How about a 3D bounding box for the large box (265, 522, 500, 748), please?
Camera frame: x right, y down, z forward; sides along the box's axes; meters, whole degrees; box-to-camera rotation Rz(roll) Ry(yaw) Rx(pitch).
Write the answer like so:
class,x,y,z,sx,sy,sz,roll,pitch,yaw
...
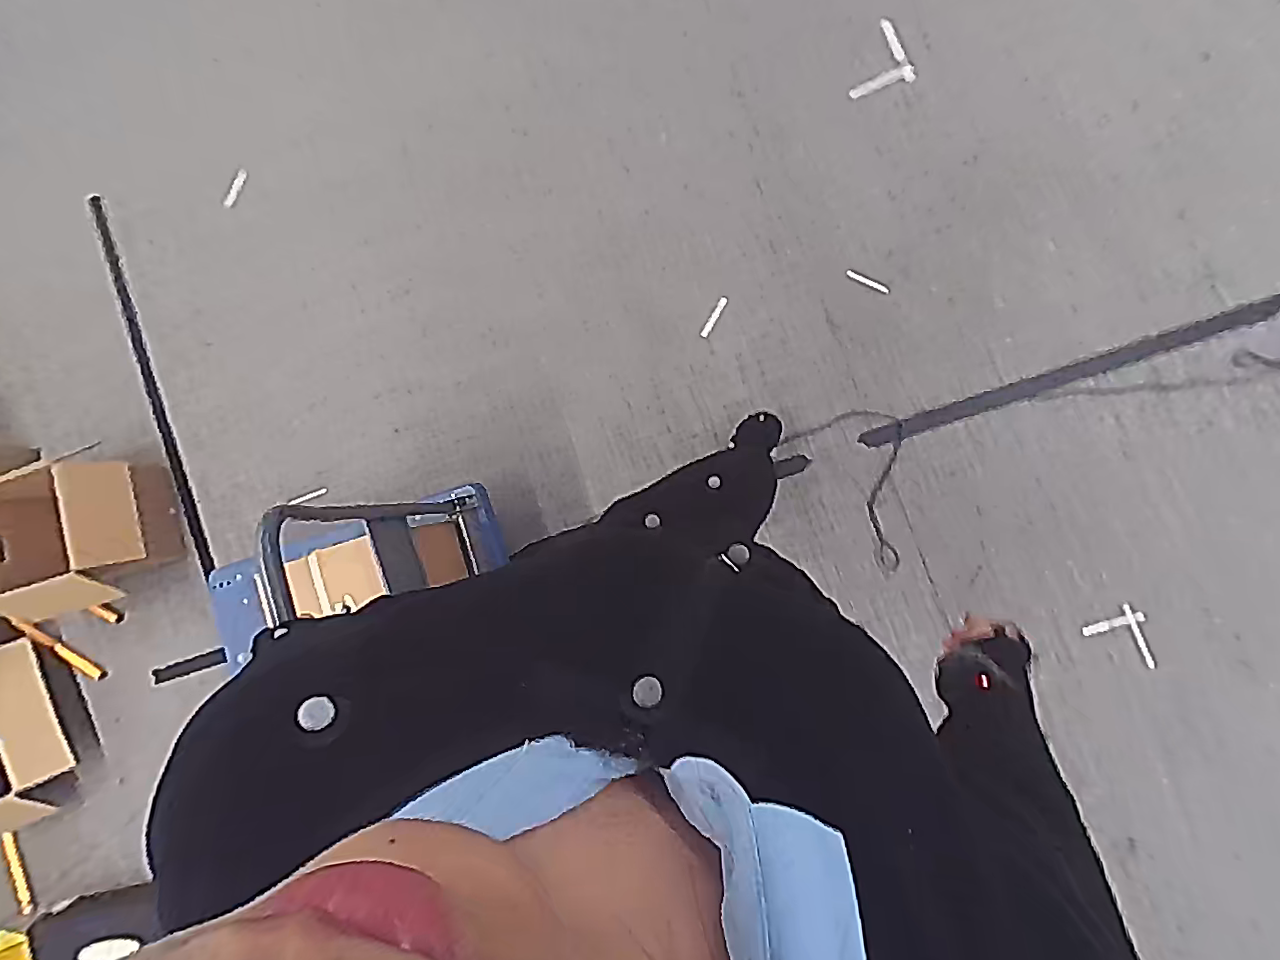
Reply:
class,x,y,z,sx,sy,sz,roll,pitch,yaw
large box,-0.586,0.340,1.283,0.320,0.320,0.408,-18,86,9
